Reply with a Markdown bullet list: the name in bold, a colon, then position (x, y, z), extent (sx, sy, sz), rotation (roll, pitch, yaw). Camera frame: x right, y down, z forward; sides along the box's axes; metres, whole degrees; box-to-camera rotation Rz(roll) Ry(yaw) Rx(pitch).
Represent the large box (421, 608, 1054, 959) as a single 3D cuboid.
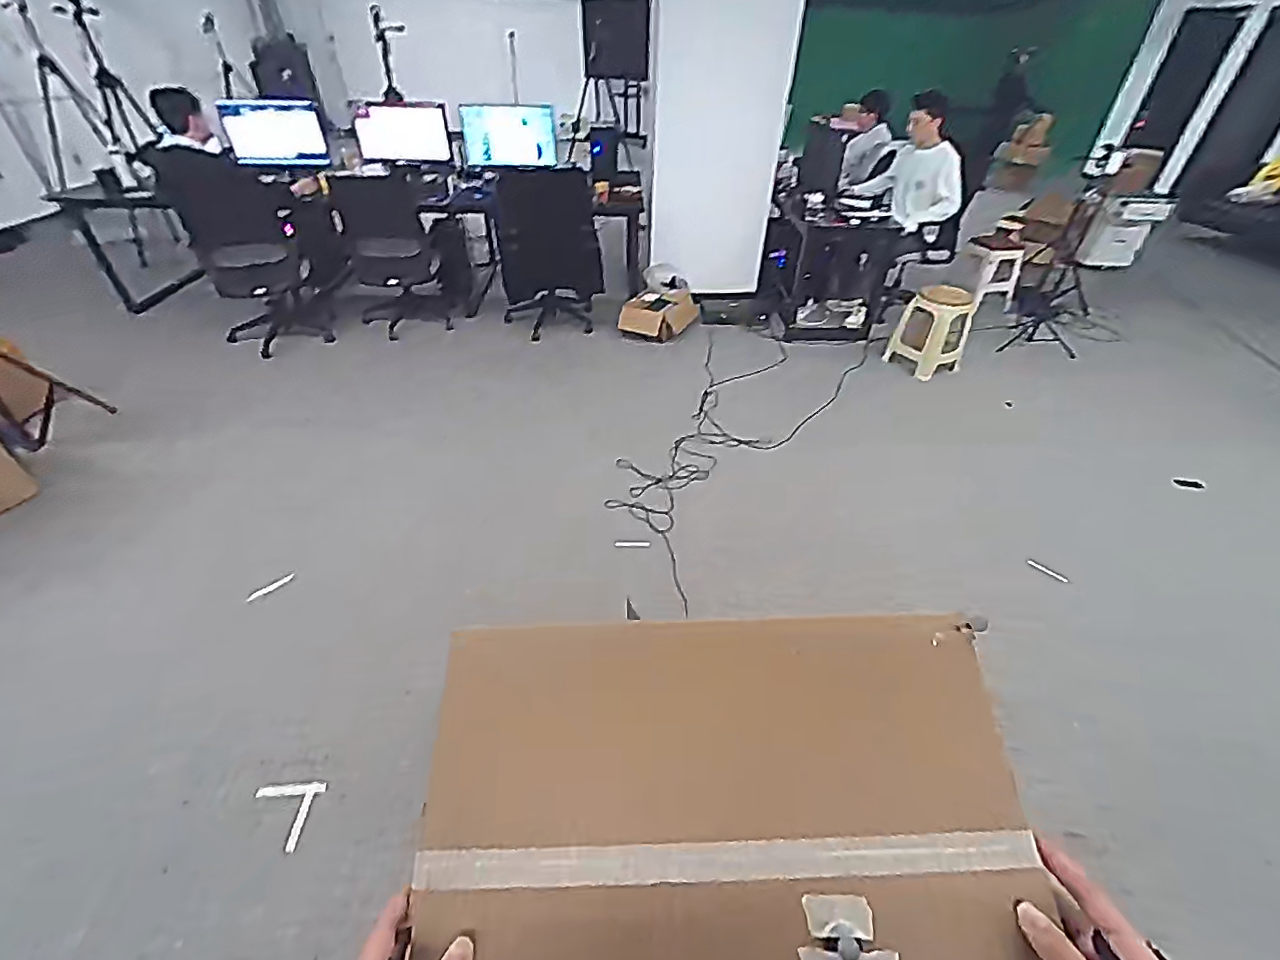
- **large box**: position (0.058, 0.316, 0.498), extent (0.408, 0.320, 0.320), rotation (-2, 63, 0)
